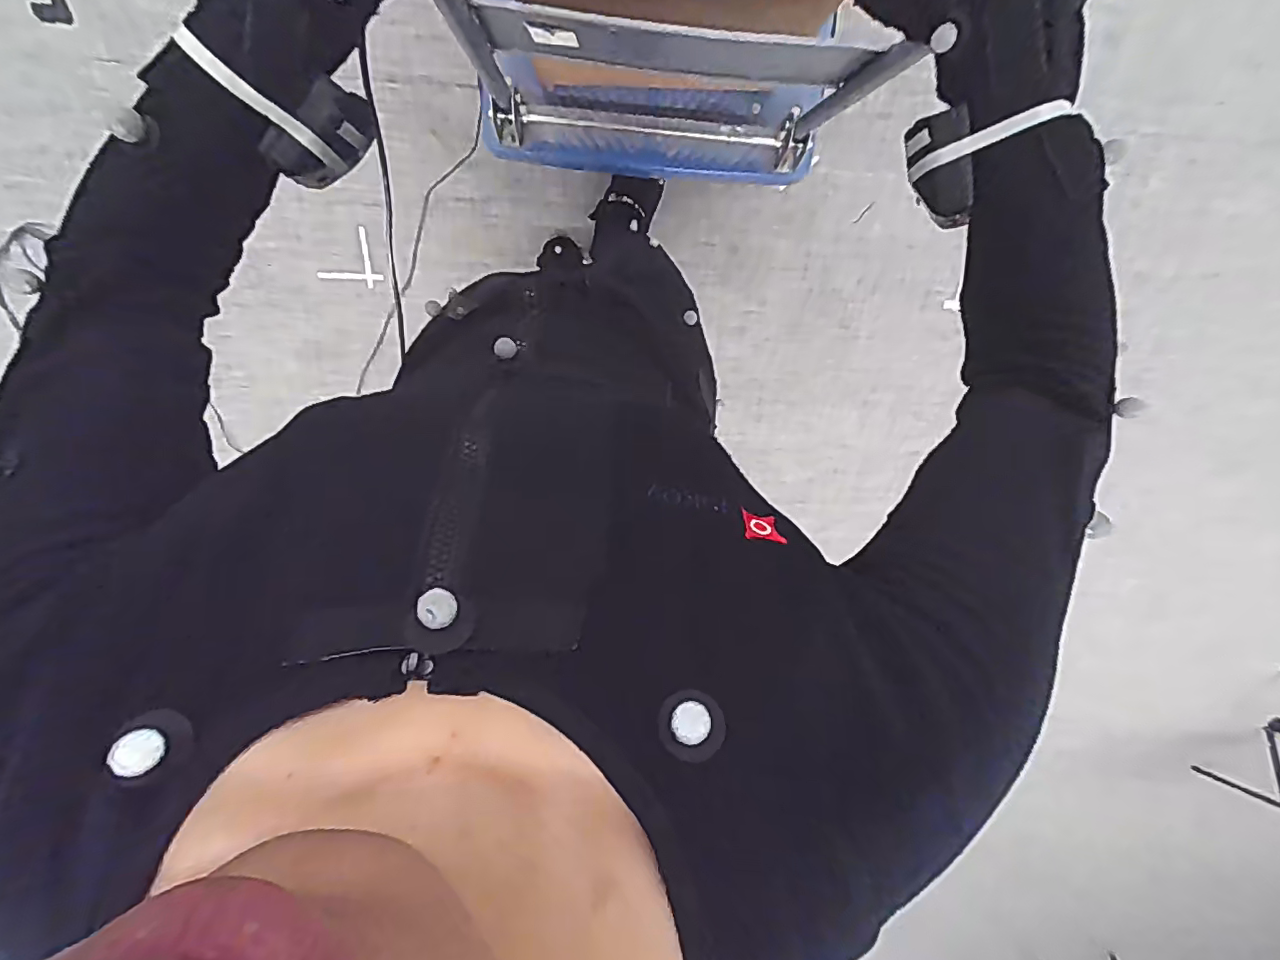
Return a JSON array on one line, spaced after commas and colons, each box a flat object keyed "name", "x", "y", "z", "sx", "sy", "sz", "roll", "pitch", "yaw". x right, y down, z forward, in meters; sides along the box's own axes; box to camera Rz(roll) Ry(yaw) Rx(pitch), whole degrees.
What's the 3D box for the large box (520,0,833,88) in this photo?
[{"name": "large box", "x": 0.035, "y": -0.772, "z": 0.738, "sx": 0.408, "sy": 0.320, "sz": 0.320, "roll": -2, "pitch": 109, "yaw": -4}]
